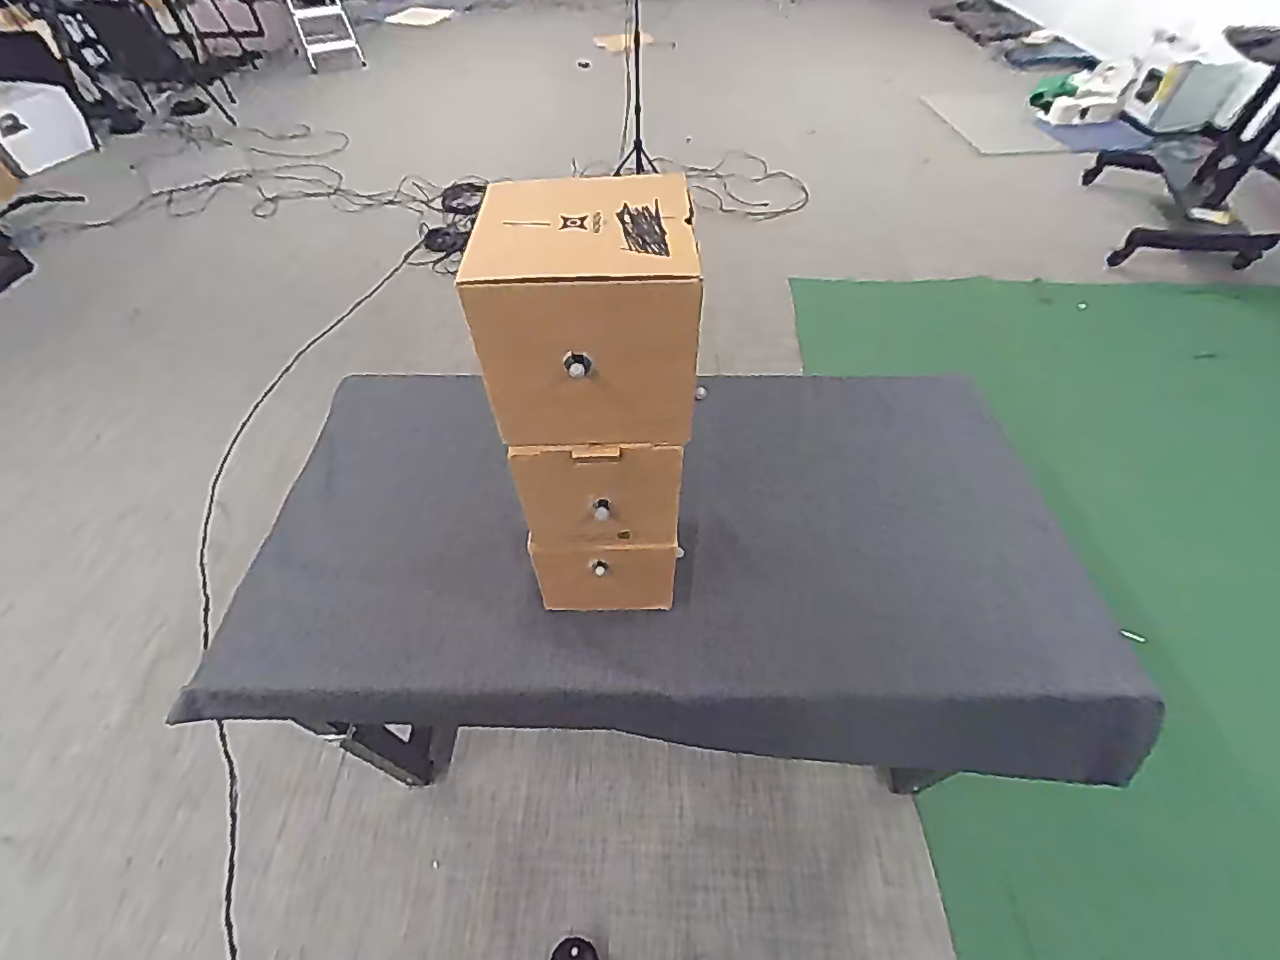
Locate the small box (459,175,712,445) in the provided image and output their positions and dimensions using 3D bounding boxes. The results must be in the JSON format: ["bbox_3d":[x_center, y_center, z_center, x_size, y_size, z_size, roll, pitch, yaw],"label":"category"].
[{"bbox_3d":[-0.042,-0.145,0.480,0.179,0.176,0.168,-3,52,-3],"label":"small box"}]

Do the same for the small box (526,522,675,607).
[{"bbox_3d":[-0.045,0.064,0.733,0.179,0.176,0.168,0,52,-1],"label":"small box"}]

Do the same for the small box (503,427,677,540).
[{"bbox_3d":[-0.045,-0.042,0.610,0.168,0.176,0.179,-2,52,-1],"label":"small box"}]
